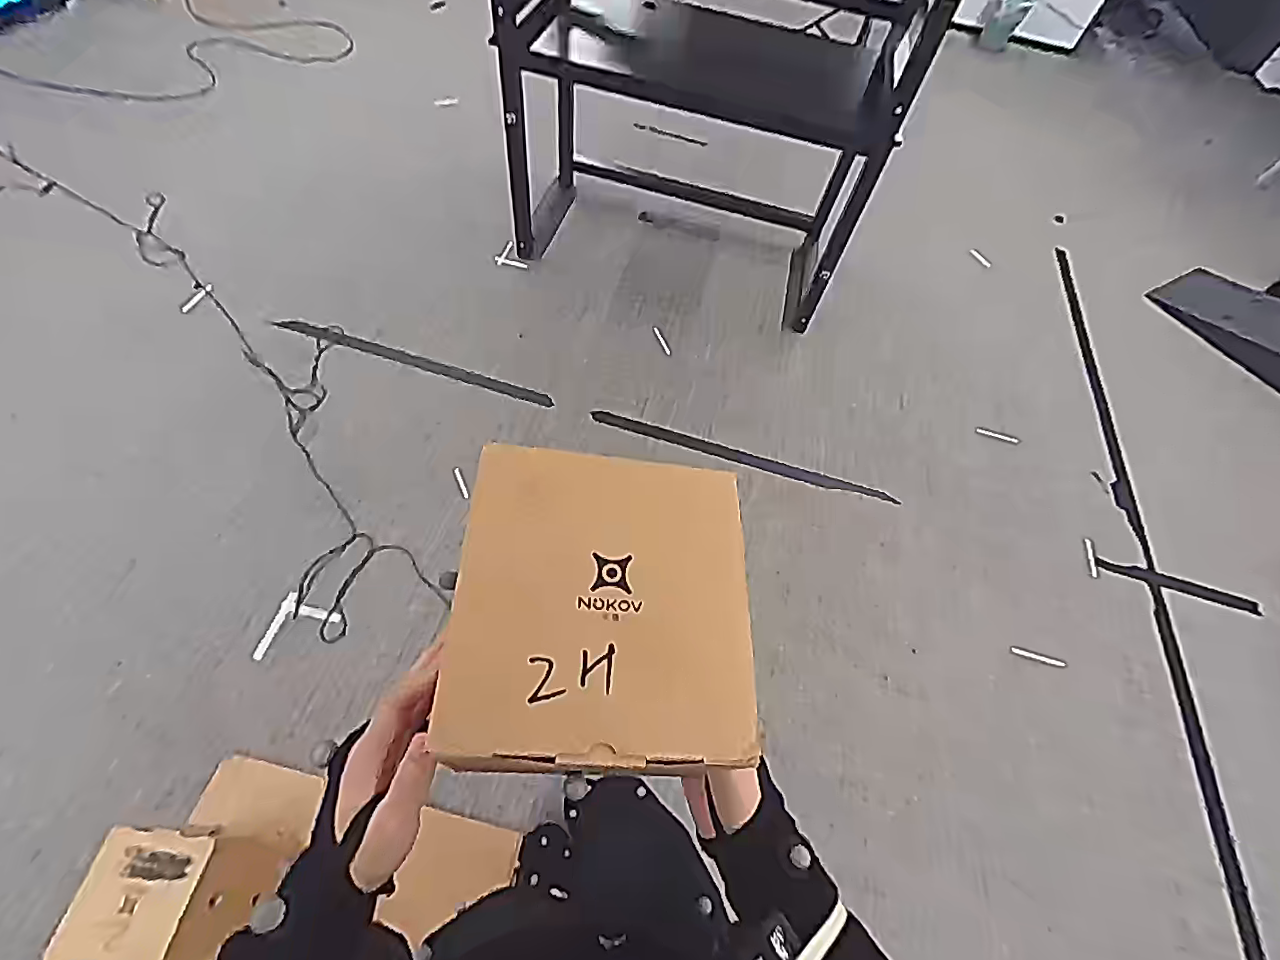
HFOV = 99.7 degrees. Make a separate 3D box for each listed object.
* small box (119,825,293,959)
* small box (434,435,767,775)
[{"bbox_3d":[-0.798,0.770,1.024,0.168,0.176,0.179,11,59,-1],"label":"small box"},{"bbox_3d":[-0.030,0.095,0.368,0.168,0.176,0.179,6,59,-9],"label":"small box"}]
